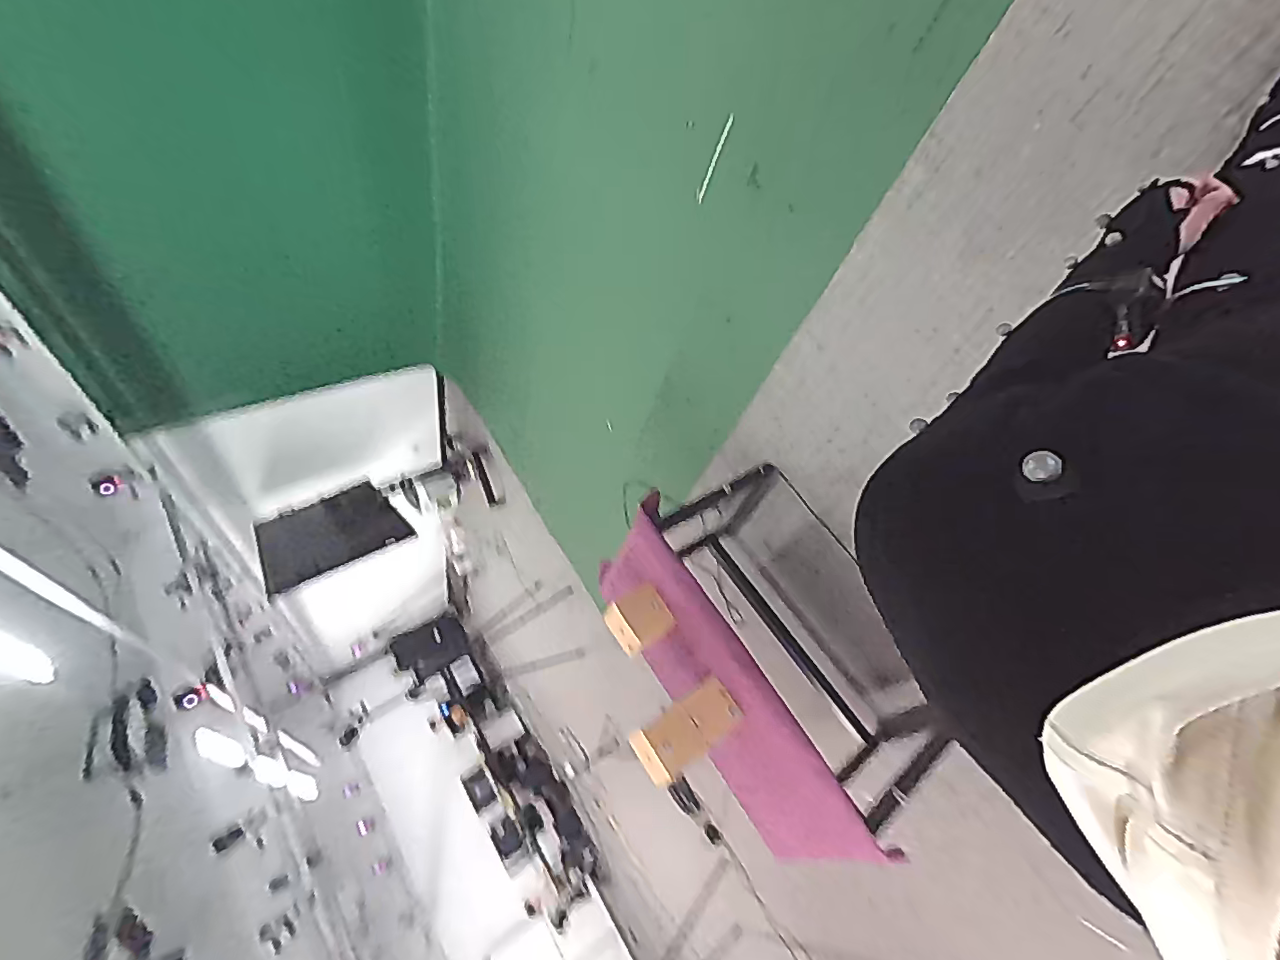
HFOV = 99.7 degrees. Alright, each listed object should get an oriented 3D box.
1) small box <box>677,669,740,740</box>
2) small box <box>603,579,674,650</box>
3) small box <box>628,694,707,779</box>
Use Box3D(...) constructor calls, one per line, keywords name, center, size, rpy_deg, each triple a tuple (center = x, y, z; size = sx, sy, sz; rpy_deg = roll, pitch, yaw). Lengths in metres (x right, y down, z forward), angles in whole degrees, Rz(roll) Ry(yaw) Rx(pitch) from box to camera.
Box3D(name="small box", center=(0.217, 0.779, 1.856), size=(0.168, 0.176, 0.179), rpy_deg=(52, 148, 20))
Box3D(name="small box", center=(-0.007, 0.486, 1.985), size=(0.179, 0.176, 0.168), rpy_deg=(53, 148, 19))
Box3D(name="small box", center=(0.092, 0.838, 1.770), size=(0.179, 0.176, 0.168), rpy_deg=(53, 146, 20))
